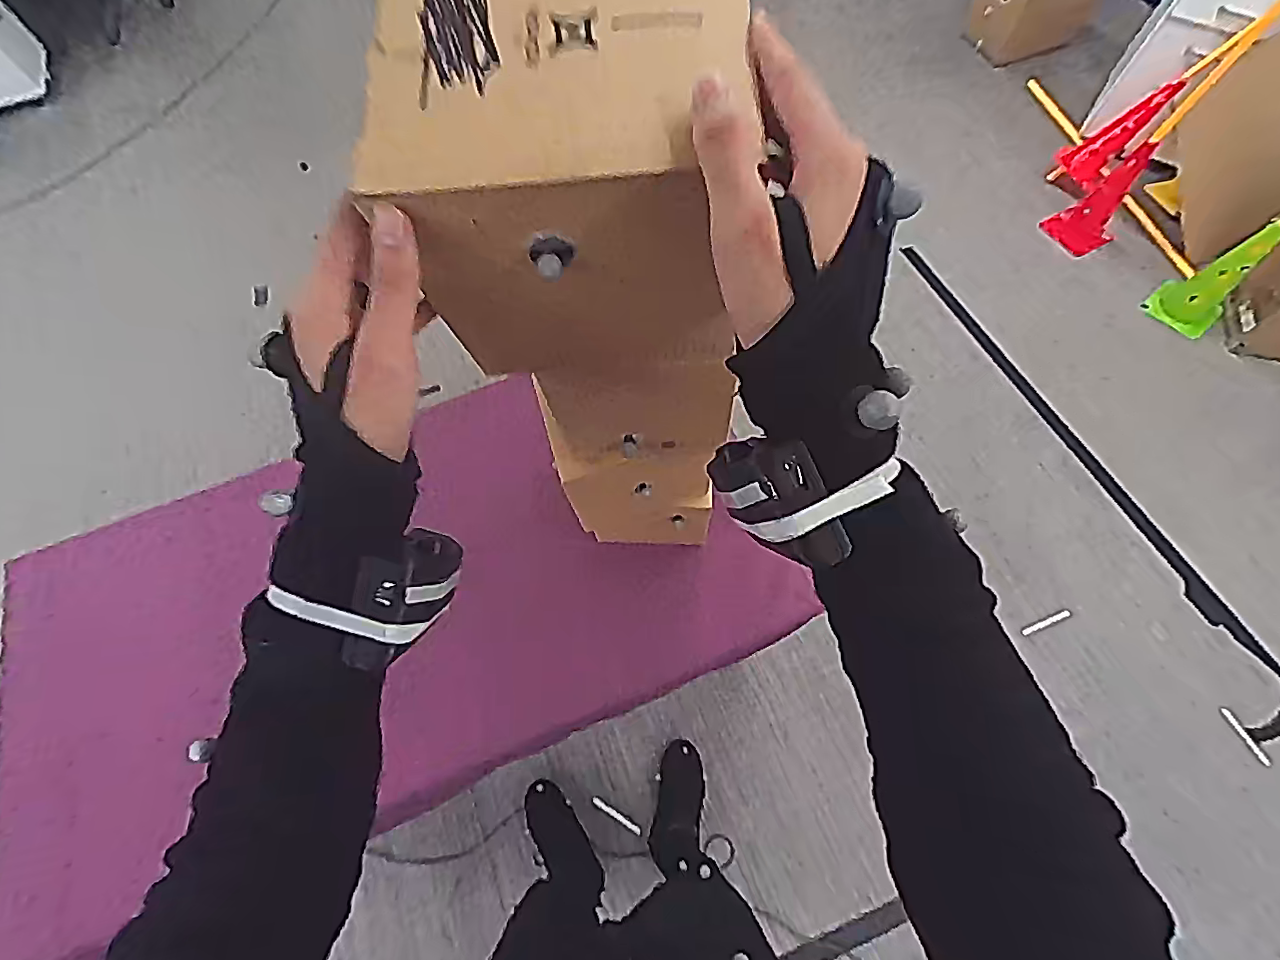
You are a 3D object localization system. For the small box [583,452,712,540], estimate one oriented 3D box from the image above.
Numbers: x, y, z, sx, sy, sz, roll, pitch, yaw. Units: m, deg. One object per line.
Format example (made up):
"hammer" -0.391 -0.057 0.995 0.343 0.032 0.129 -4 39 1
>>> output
"small box" 0.016 -0.010 0.831 0.179 0.176 0.168 2 66 4

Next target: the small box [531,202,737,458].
"small box" -0.001 -0.136 0.529 0.168 0.176 0.179 -3 68 4
